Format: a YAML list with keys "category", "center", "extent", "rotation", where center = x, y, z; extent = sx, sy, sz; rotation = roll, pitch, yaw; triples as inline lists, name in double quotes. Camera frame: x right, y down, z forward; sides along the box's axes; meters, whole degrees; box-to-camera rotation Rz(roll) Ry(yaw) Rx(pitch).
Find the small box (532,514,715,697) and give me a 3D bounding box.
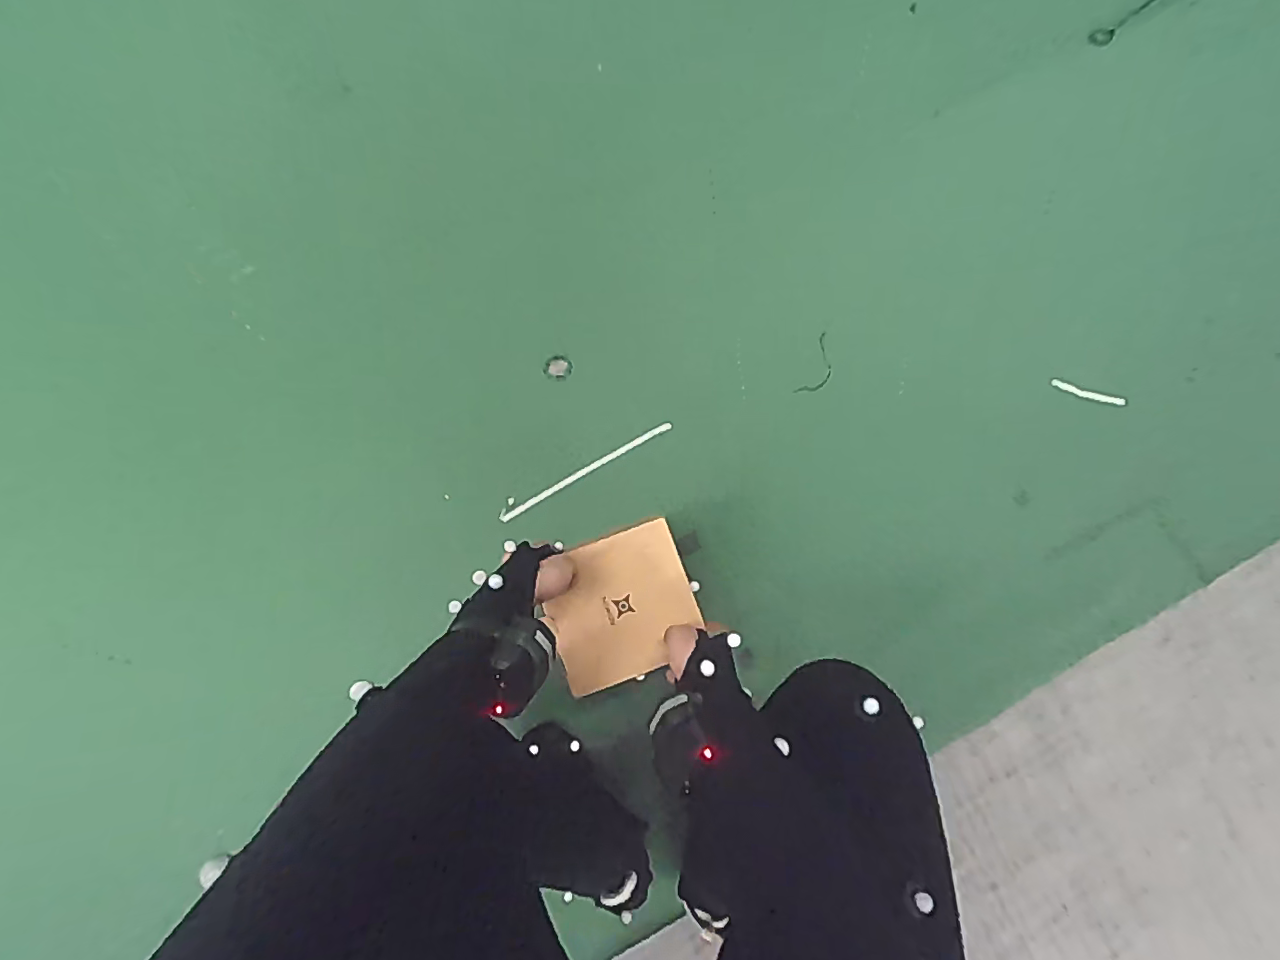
- category: "small box"
  center: [-0.023, 0.146, 0.700]
  extent: [0.179, 0.176, 0.168]
  rotation: [-19, 88, -3]
